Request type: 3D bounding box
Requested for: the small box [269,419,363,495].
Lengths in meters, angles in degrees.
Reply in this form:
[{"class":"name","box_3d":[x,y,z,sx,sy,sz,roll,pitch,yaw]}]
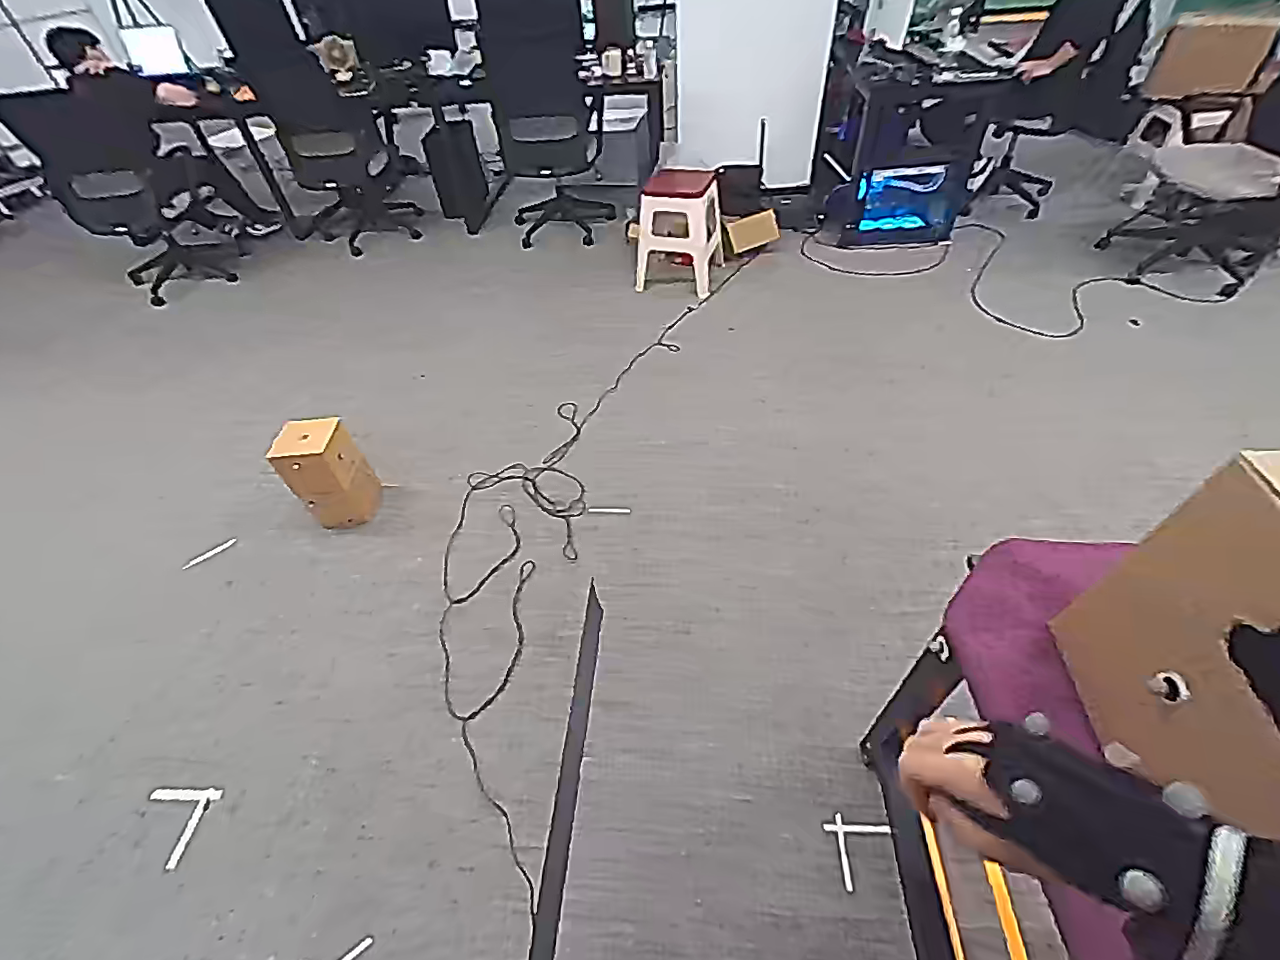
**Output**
[{"class":"small box","box_3d":[-1.014,-0.071,1.711,0.179,0.176,0.168,-6,46,1]}]
